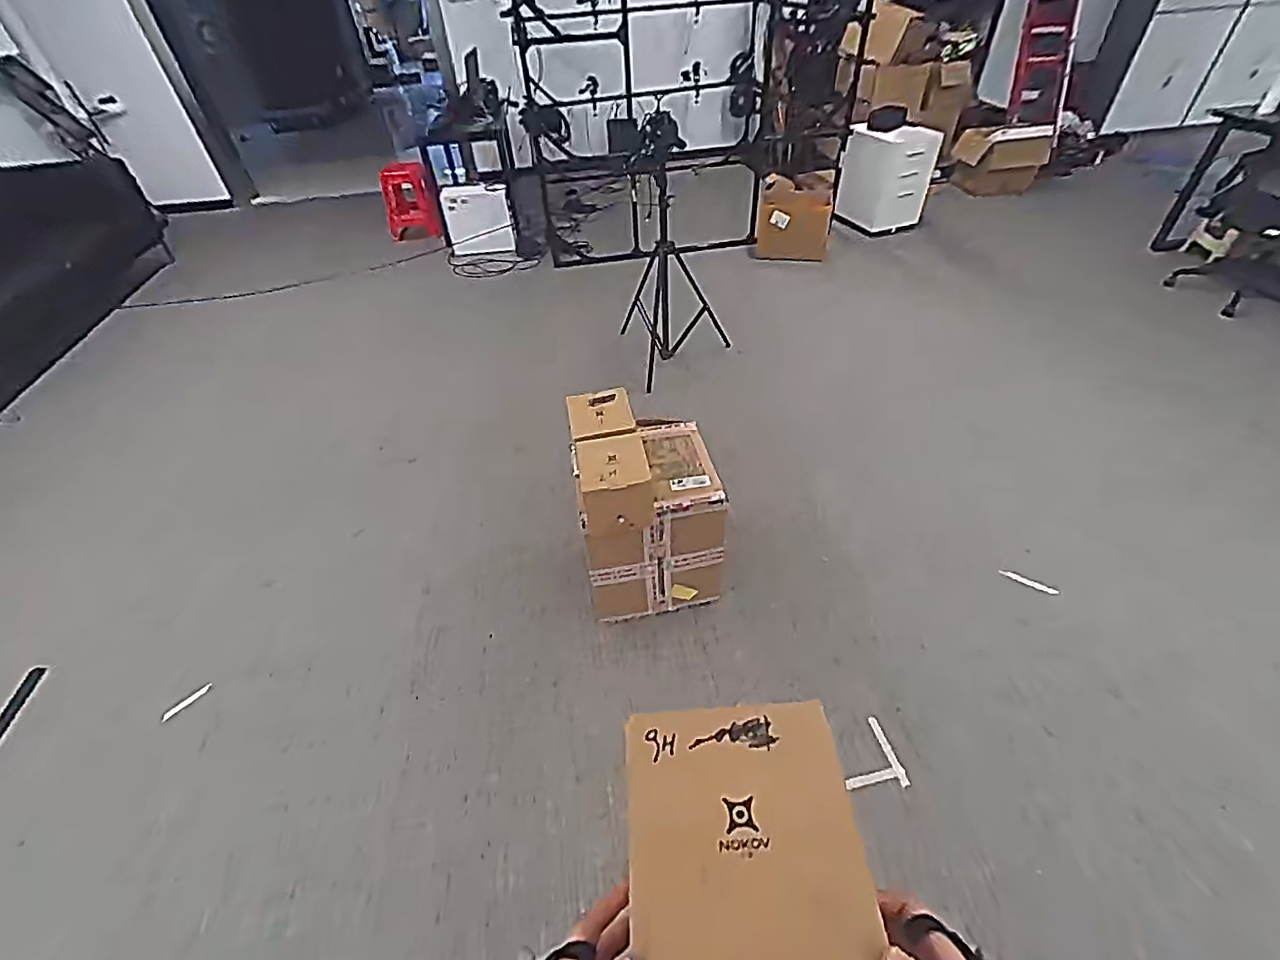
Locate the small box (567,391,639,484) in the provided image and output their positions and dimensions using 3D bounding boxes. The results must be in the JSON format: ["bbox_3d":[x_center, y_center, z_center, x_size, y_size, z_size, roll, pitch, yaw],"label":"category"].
[{"bbox_3d":[-0.100,-0.116,1.480,0.168,0.176,0.179,-11,47,-4],"label":"small box"}]
